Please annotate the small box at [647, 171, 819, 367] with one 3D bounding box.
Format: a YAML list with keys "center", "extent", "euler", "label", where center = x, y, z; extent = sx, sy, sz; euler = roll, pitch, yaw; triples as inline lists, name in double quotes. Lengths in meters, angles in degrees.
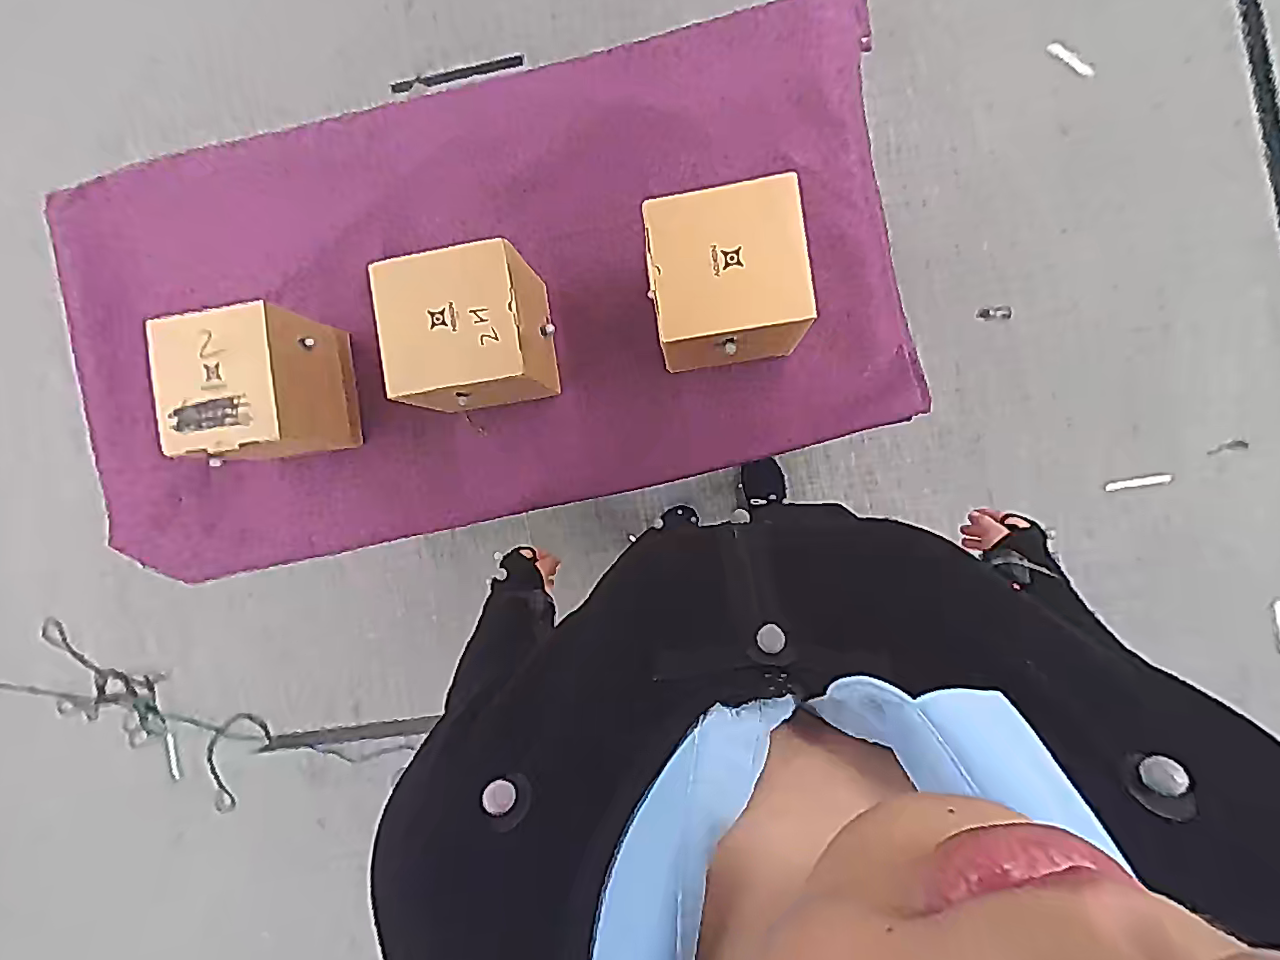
- center: [0.111, -0.248, 0.680]
  extent: [0.179, 0.176, 0.168]
  euler: [-8, 89, 7]
  label: "small box"

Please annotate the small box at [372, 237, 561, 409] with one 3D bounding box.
- center: [-0.218, -0.193, 0.717]
  extent: [0.179, 0.176, 0.168]
  euler: [-8, 90, 6]
  label: "small box"
